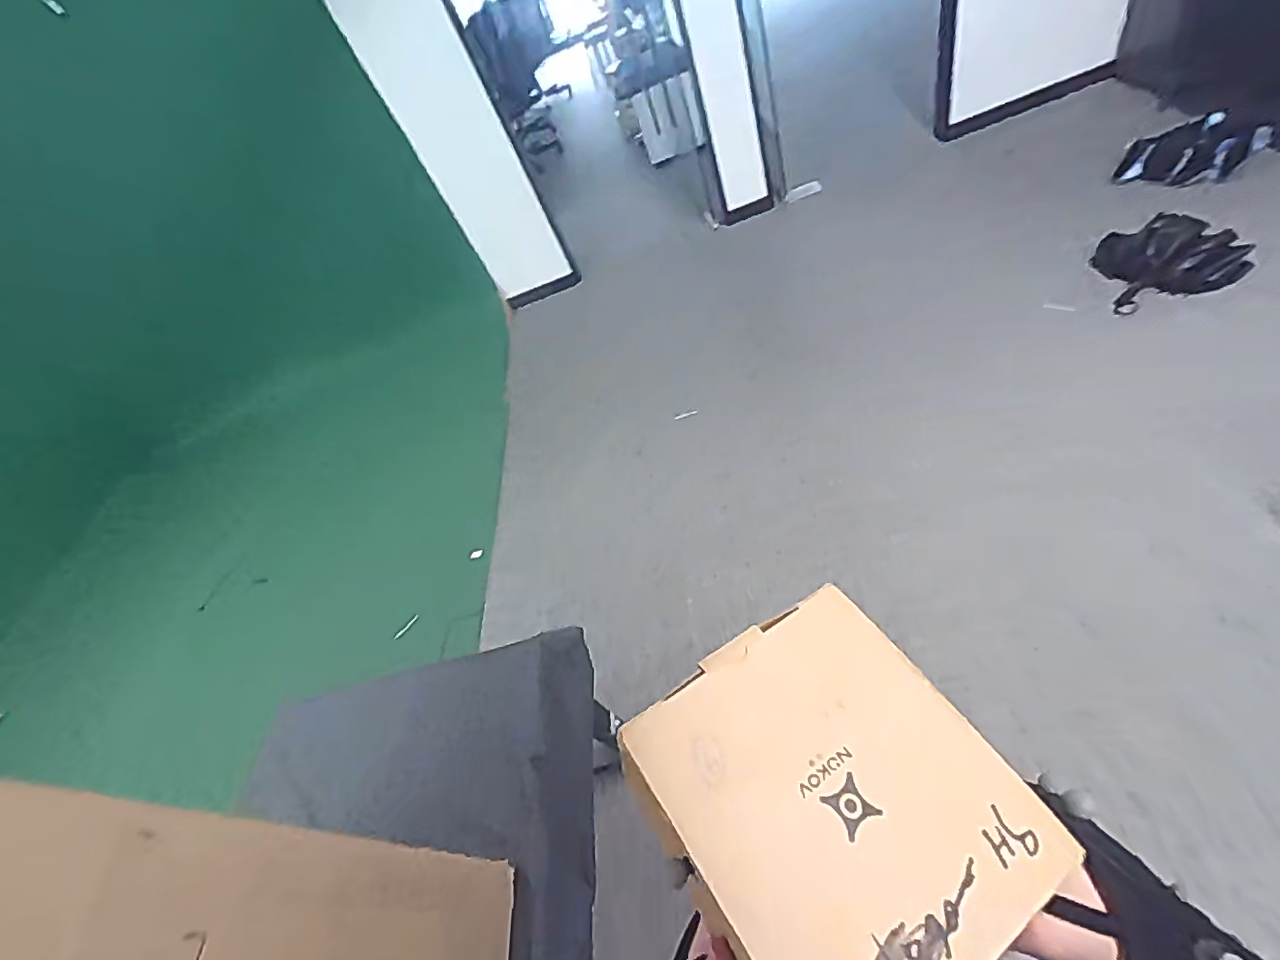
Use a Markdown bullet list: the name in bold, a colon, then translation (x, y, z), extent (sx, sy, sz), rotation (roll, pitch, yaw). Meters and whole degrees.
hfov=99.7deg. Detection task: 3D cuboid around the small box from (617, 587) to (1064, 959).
- **small box**: translation (0.097, 0.208, 0.348), extent (0.168, 0.176, 0.179), rotation (-26, 57, -19)
